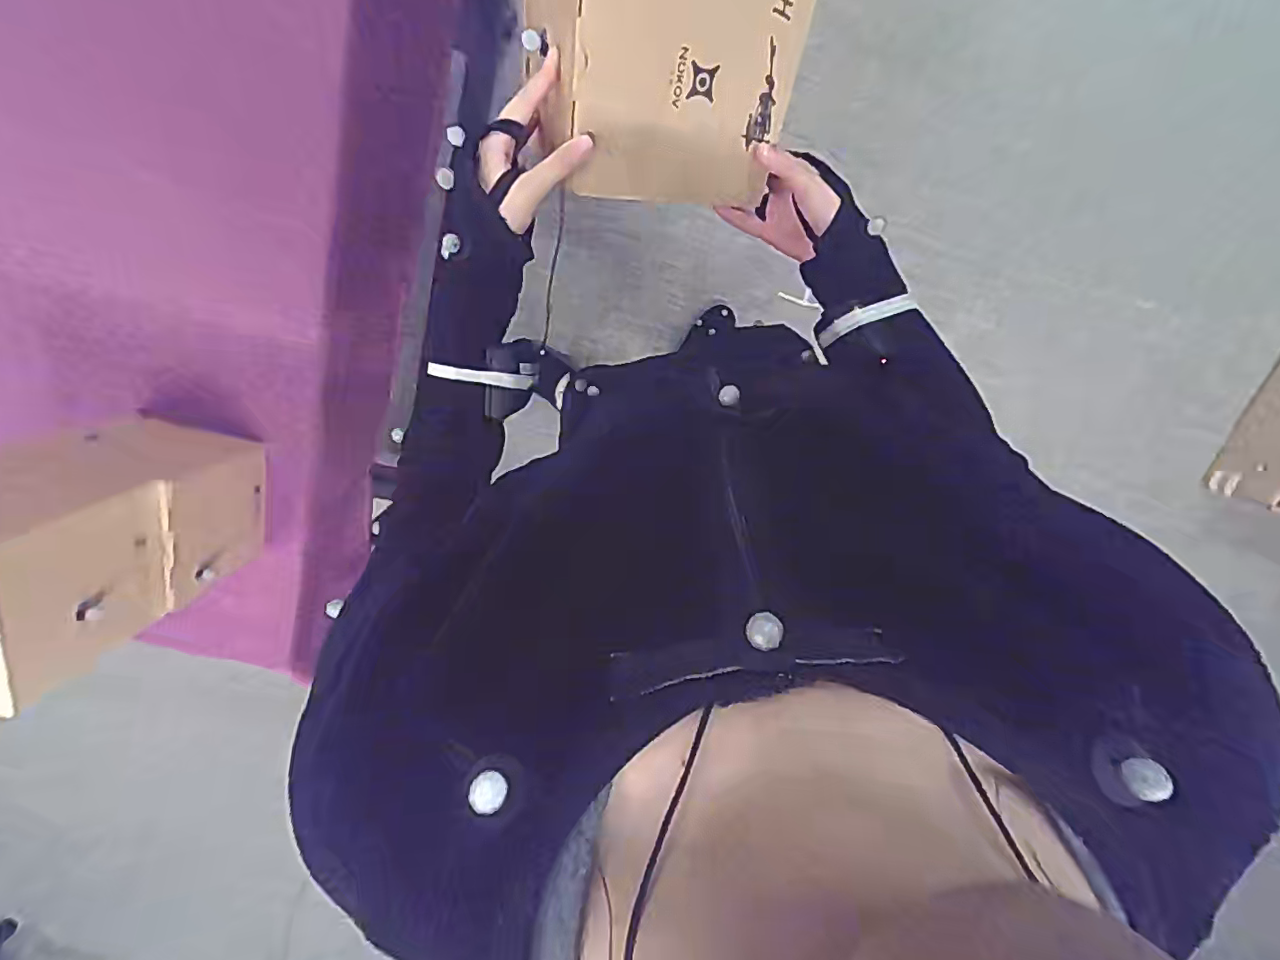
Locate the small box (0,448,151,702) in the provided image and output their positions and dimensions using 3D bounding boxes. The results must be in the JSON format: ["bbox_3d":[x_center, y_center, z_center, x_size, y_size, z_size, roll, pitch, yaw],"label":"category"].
[{"bbox_3d":[-0.616,0.077,0.515,0.179,0.176,0.168,11,108,-3],"label":"small box"}]
